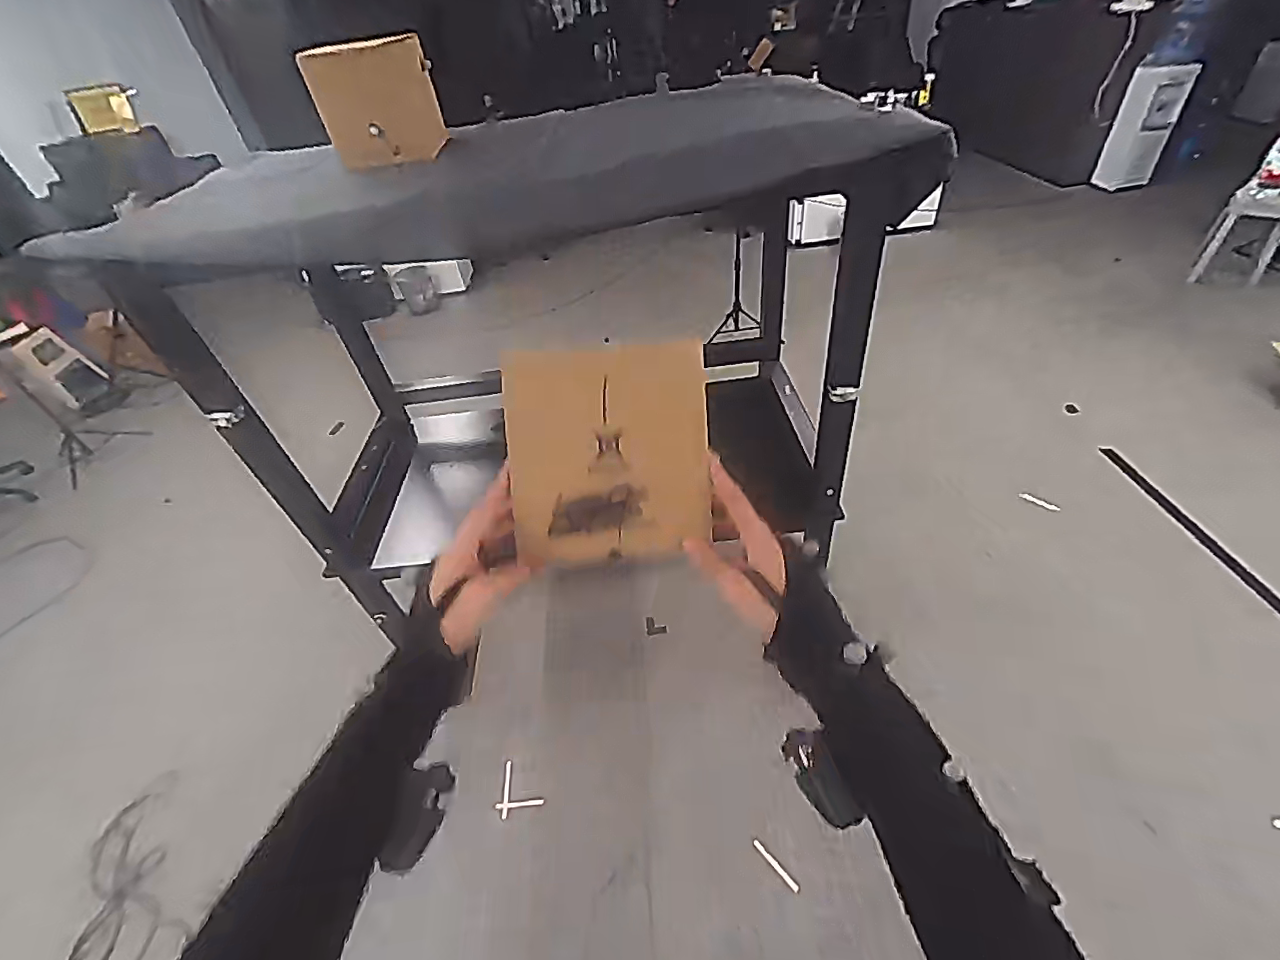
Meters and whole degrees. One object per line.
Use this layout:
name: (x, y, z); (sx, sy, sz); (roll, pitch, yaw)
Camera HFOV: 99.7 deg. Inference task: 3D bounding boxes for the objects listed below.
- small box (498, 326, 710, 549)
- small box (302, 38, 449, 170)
small box: (-0.024, -0.042, 0.513); (0.168, 0.179, 0.176); (-3, 7, 1)
small box: (-0.462, -0.679, 0.979); (0.168, 0.176, 0.179); (-9, 43, 0)
